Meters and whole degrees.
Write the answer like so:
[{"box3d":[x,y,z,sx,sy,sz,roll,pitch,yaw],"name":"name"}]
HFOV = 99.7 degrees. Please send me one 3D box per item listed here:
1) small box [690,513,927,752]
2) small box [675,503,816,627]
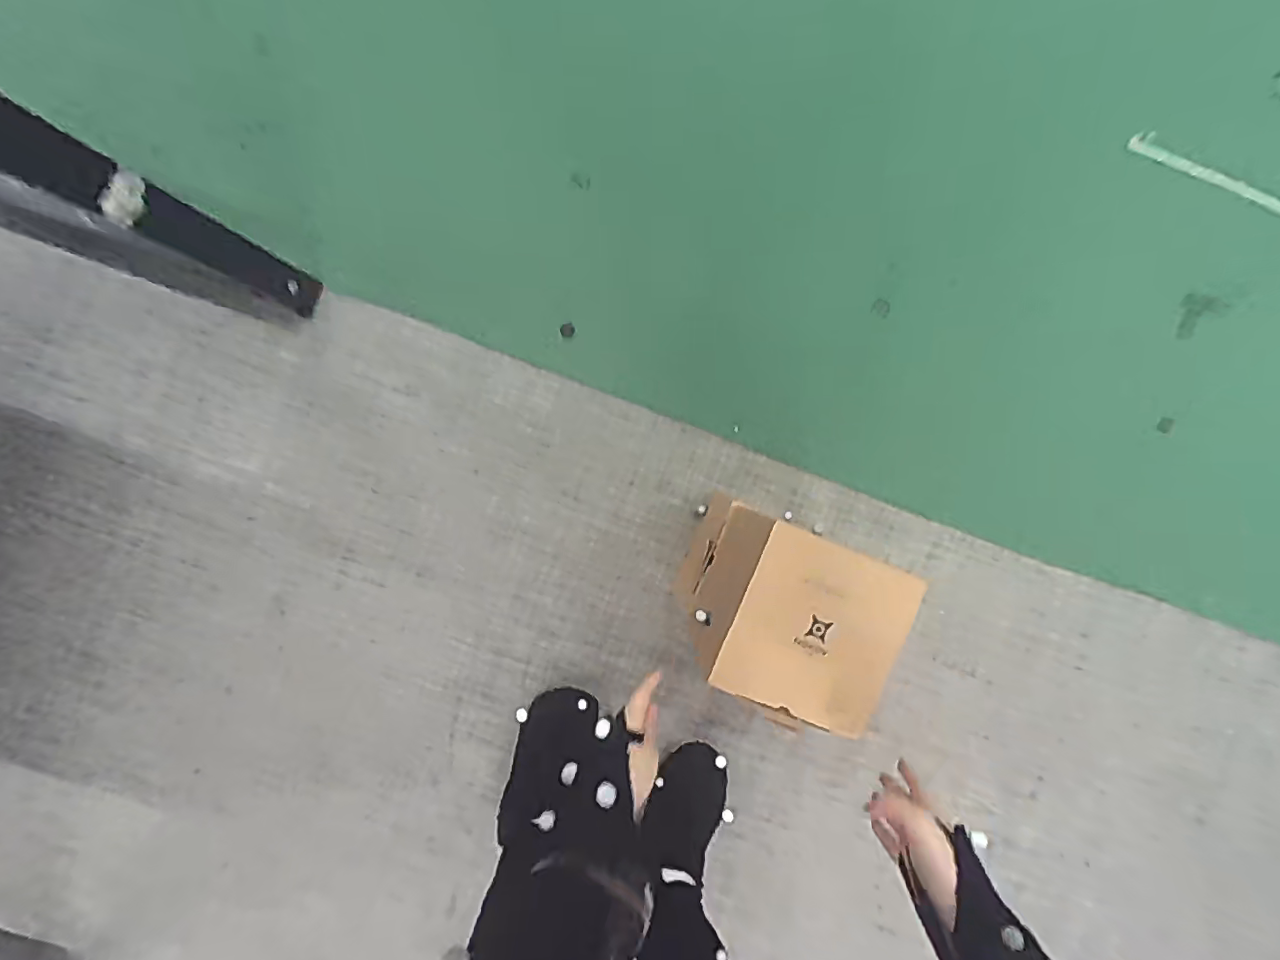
[{"box3d":[0.164,0.149,0.590,0.168,0.176,0.179,22,90,-4],"name":"small box"},{"box3d":[0.161,0.138,0.751,0.179,0.176,0.168,23,91,-4],"name":"small box"}]
